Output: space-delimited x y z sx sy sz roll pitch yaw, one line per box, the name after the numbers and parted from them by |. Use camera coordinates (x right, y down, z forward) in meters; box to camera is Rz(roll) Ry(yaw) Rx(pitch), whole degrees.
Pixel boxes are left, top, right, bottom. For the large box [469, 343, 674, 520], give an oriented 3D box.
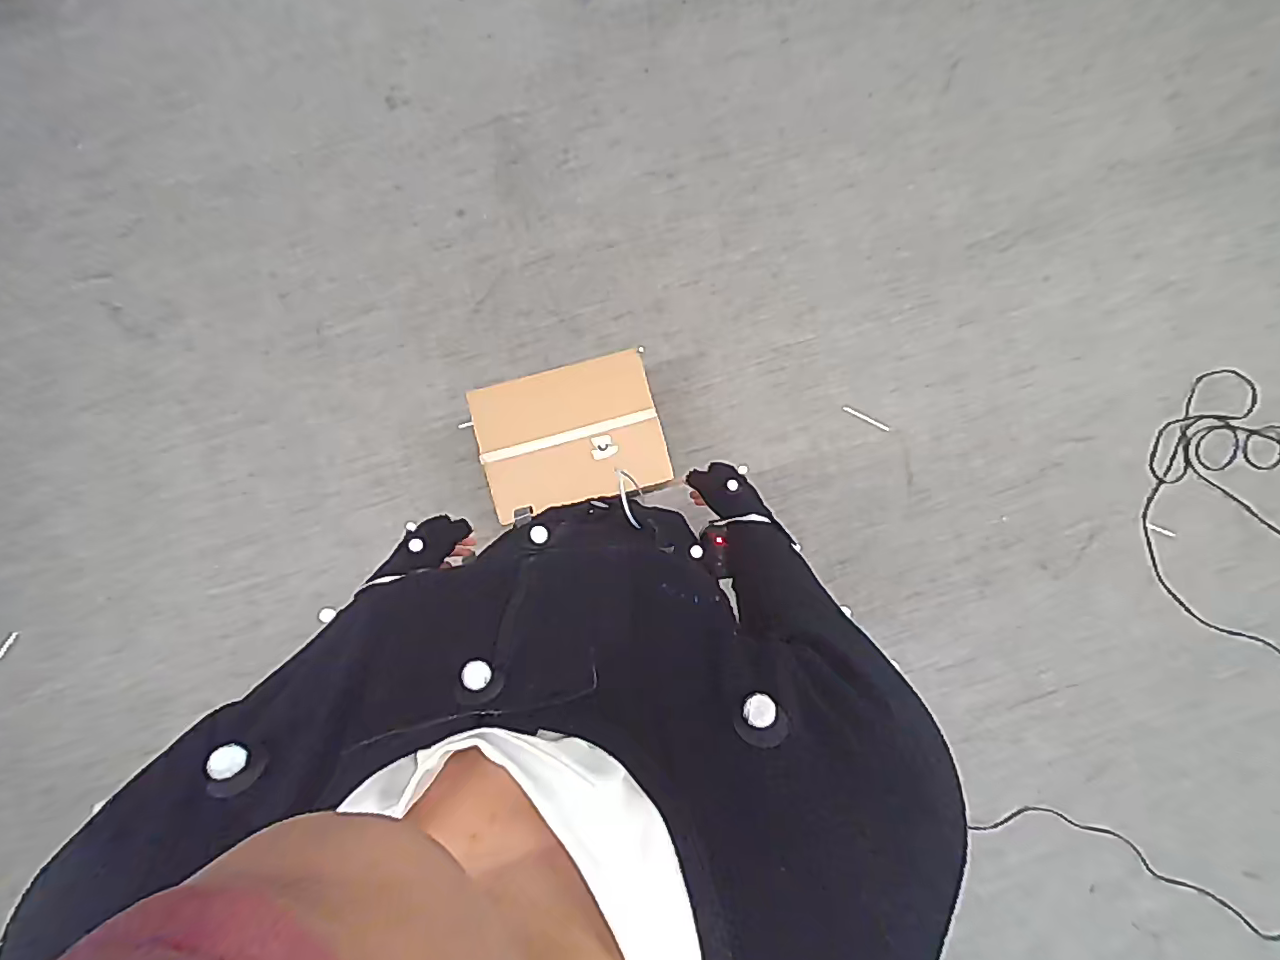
-0.158 -0.101 1.356 0.408 0.320 0.320 -15 88 -2 | large box
